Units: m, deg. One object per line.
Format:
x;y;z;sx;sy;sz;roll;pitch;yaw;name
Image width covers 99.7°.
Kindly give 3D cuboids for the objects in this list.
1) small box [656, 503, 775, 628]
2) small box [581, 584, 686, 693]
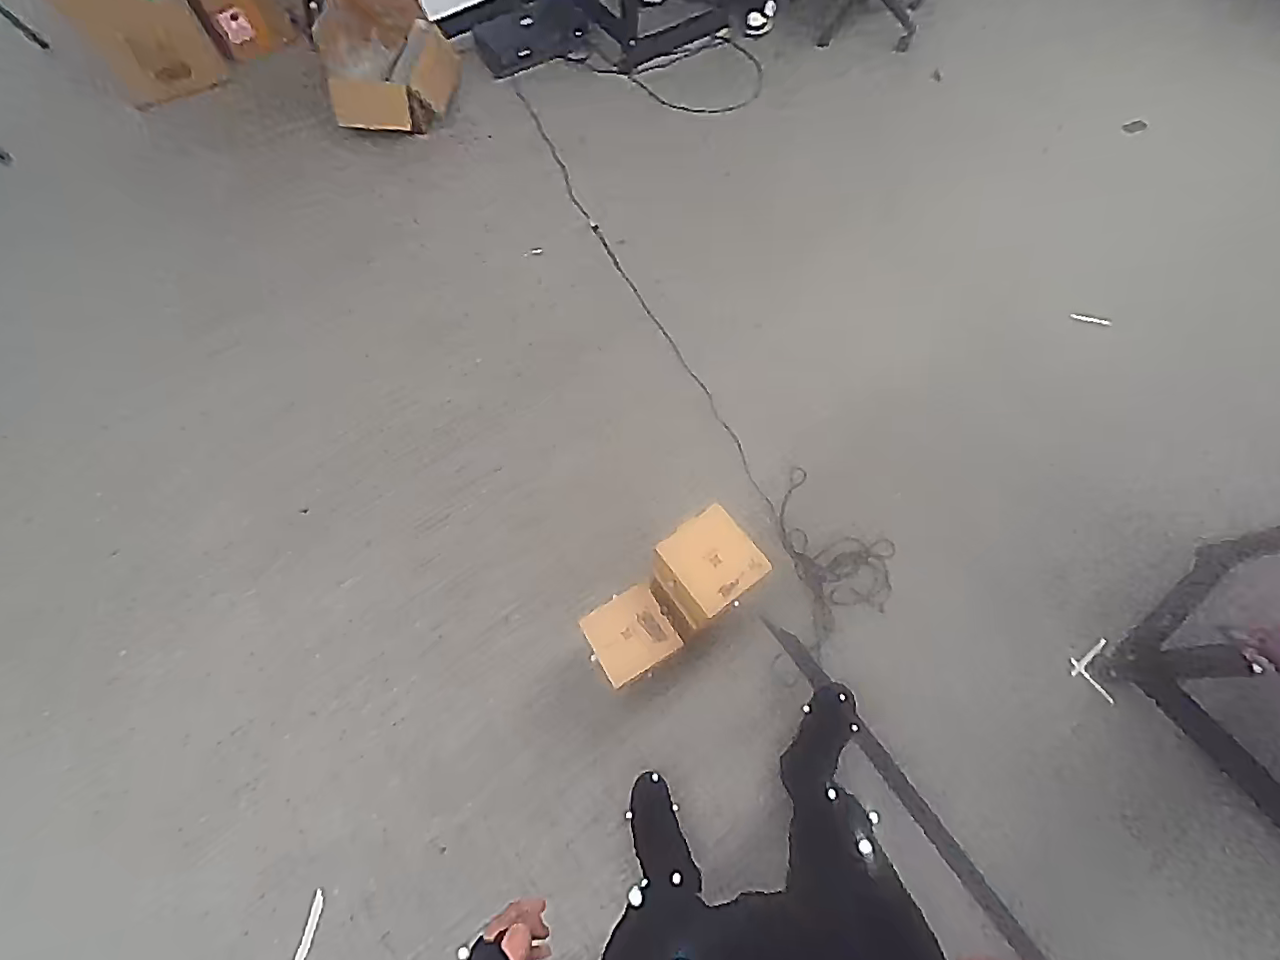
0.146;0.184;1.122;0.168;0.176;0.179;-35;71;-12;small box
-0.014;0.362;1.229;0.179;0.176;0.168;-30;70;-9;small box
